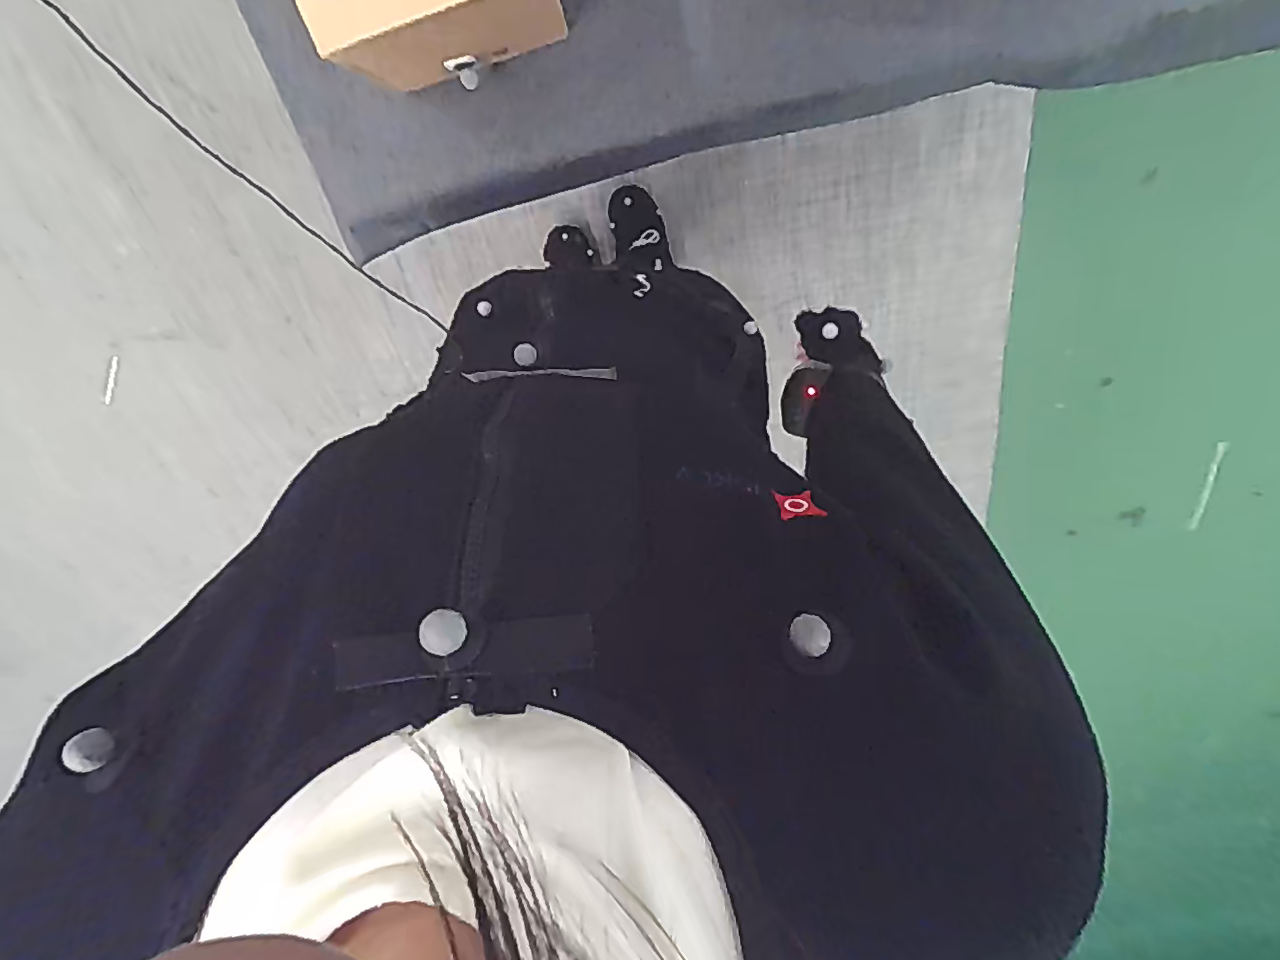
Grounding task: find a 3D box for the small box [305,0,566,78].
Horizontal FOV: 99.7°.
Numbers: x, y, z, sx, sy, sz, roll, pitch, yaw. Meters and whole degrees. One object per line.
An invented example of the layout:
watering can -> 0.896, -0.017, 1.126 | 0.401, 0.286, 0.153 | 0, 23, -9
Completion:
small box -> -0.161, -0.426, 0.384 | 0.168, 0.176, 0.179 | -15, 118, 6
